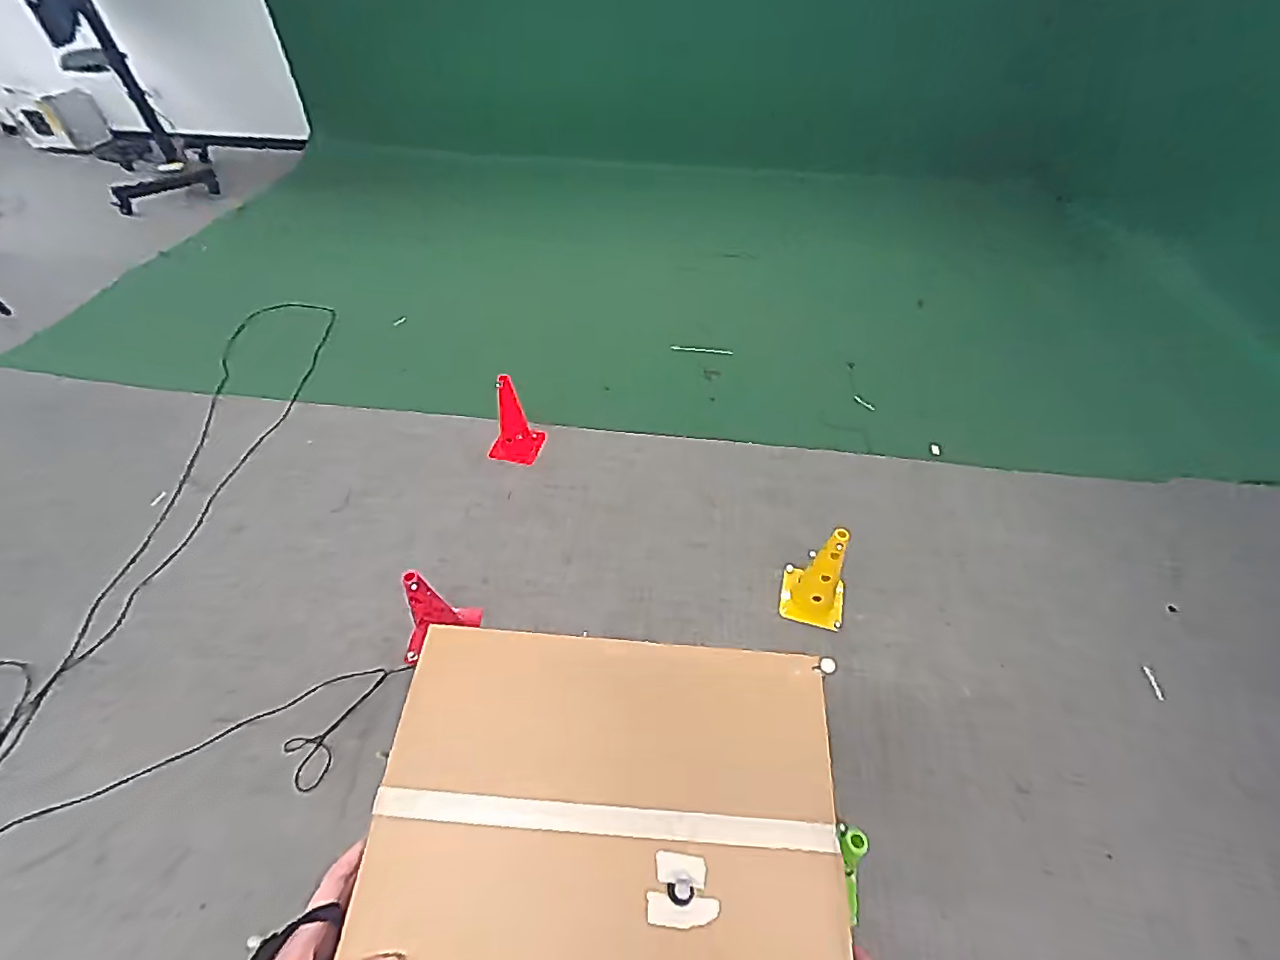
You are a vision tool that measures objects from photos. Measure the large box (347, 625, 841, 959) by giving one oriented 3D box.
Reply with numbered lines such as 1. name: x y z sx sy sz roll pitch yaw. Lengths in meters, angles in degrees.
1. large box: -0.035 0.375 0.615 0.408 0.320 0.320 4 58 1

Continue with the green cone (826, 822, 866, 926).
1. green cone: 0.425 0.825 1.192 0.200 0.368 0.202 11 47 8

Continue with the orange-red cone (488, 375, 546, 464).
1. orange-red cone: -0.516 -0.261 2.143 0.199 0.360 0.198 11 48 10
